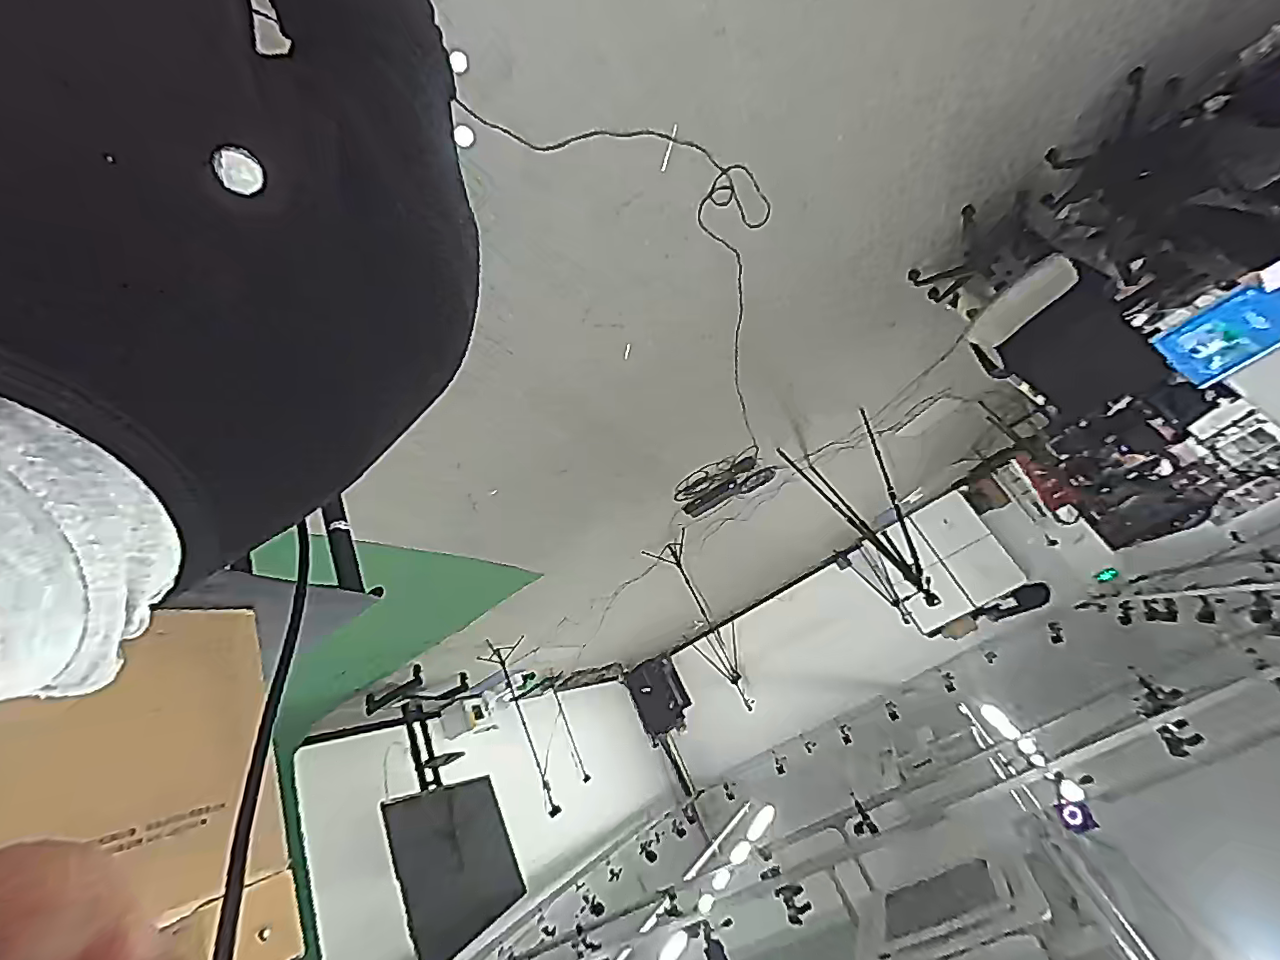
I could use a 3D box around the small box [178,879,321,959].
[{"bbox_3d":[-0.811,0.978,1.123,0.168,0.176,0.179,-38,156,17],"label":"small box"}]
